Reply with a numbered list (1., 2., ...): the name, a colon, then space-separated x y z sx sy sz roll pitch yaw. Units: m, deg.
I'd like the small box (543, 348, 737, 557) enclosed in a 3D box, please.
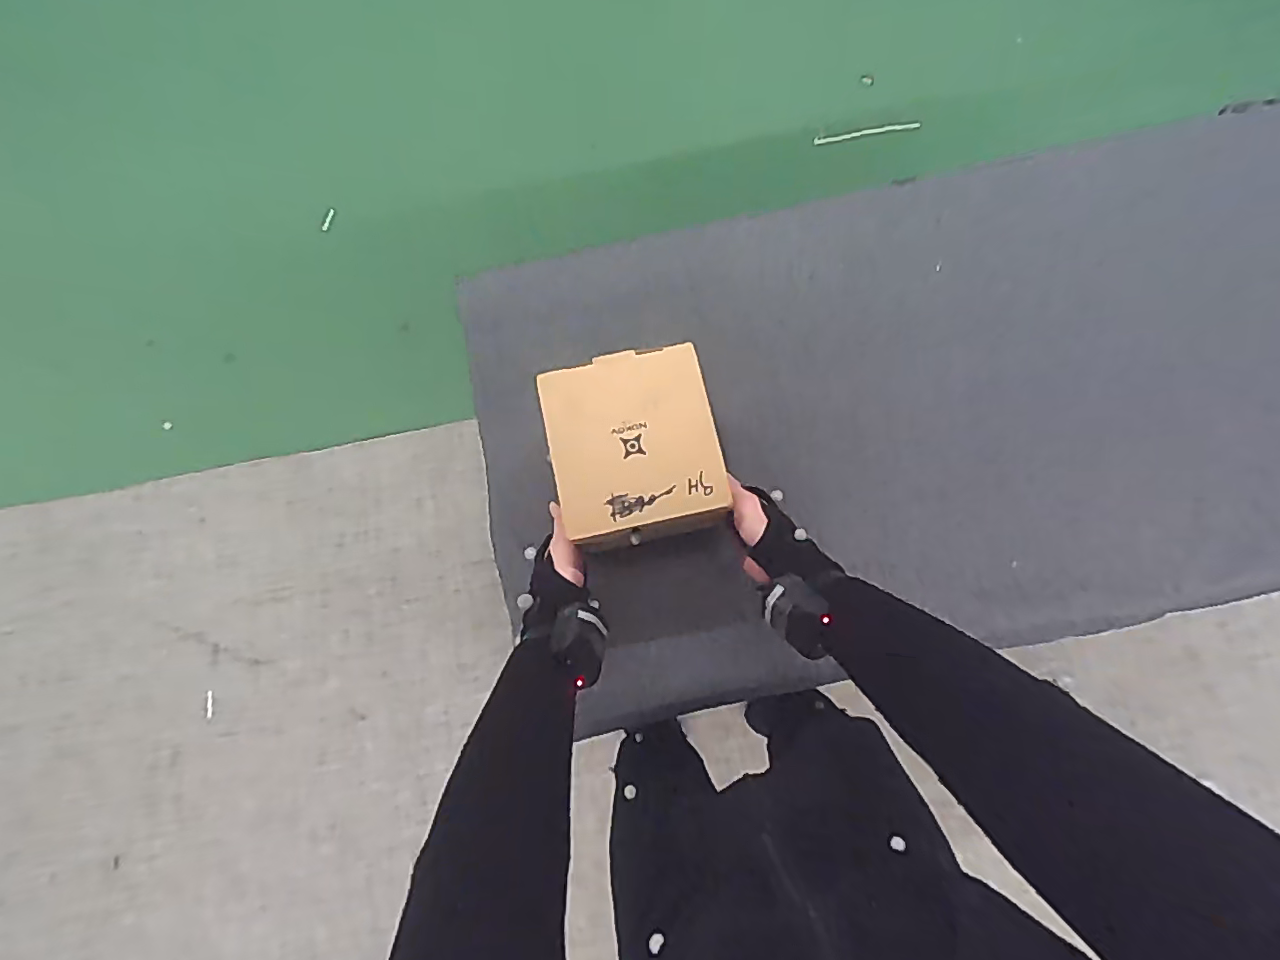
1. small box: -0.001 -0.019 0.608 0.168 0.176 0.179 -13 78 0
